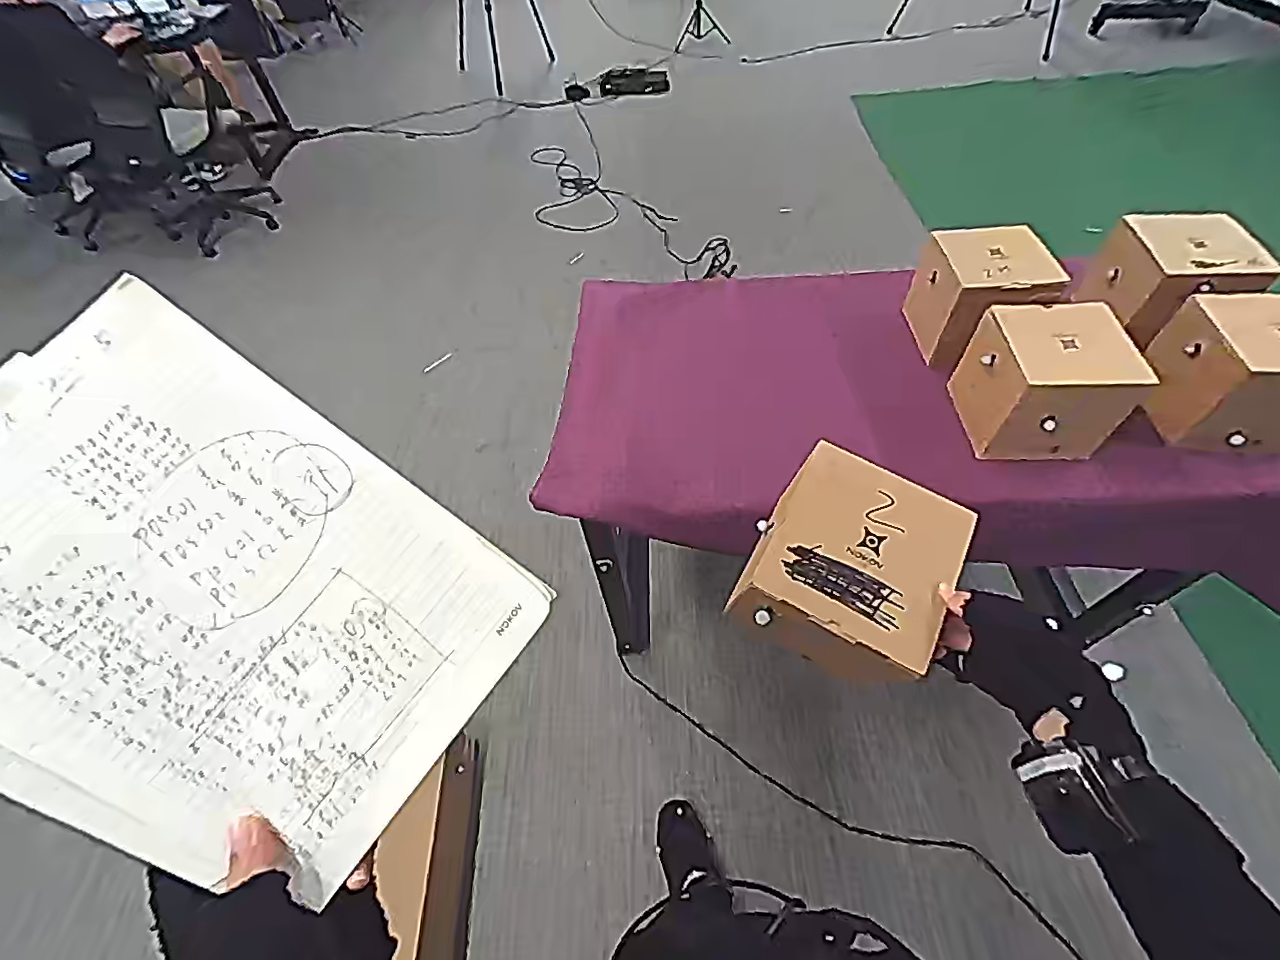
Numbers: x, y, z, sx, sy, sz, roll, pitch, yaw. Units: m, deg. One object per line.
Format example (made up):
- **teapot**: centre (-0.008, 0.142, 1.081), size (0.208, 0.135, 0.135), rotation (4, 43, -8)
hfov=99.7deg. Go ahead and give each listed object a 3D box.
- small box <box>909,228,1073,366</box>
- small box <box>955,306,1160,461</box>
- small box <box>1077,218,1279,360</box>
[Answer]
- **small box**: centre (0.605, -0.324, 0.965), size (0.168, 0.176, 0.179), rotation (-1, 54, 4)
- **small box**: centre (0.619, -0.143, 0.832), size (0.168, 0.176, 0.179), rotation (1, 54, 6)
- **small box**: centre (0.918, -0.332, 0.943), size (0.168, 0.176, 0.179), rotation (2, 54, 7)
